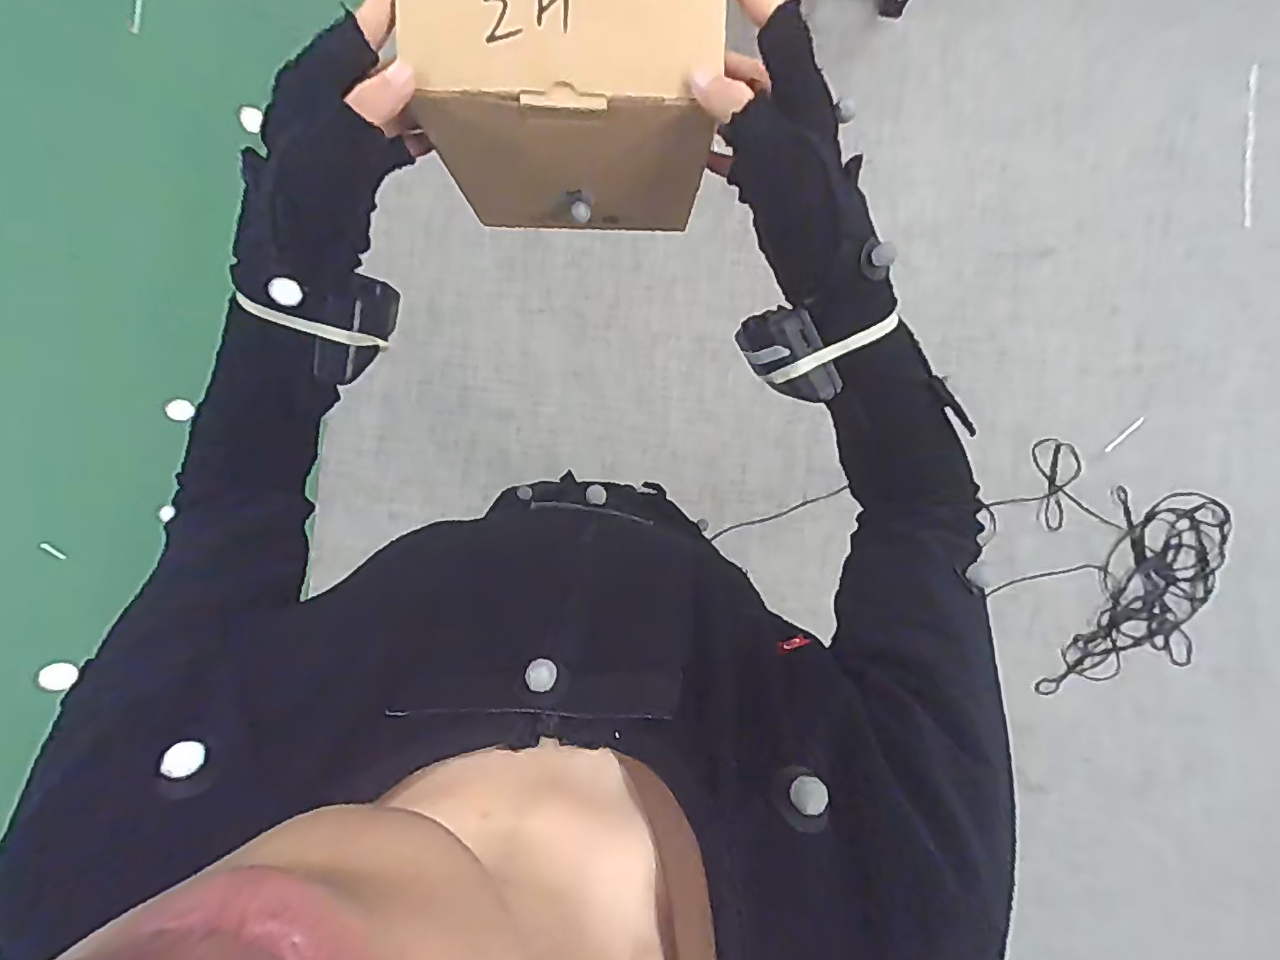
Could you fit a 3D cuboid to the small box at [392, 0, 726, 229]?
[{"bbox_3d":[-0.040,-0.287,0.345,0.168,0.176,0.179,1,92,-2],"label":"small box"}]
